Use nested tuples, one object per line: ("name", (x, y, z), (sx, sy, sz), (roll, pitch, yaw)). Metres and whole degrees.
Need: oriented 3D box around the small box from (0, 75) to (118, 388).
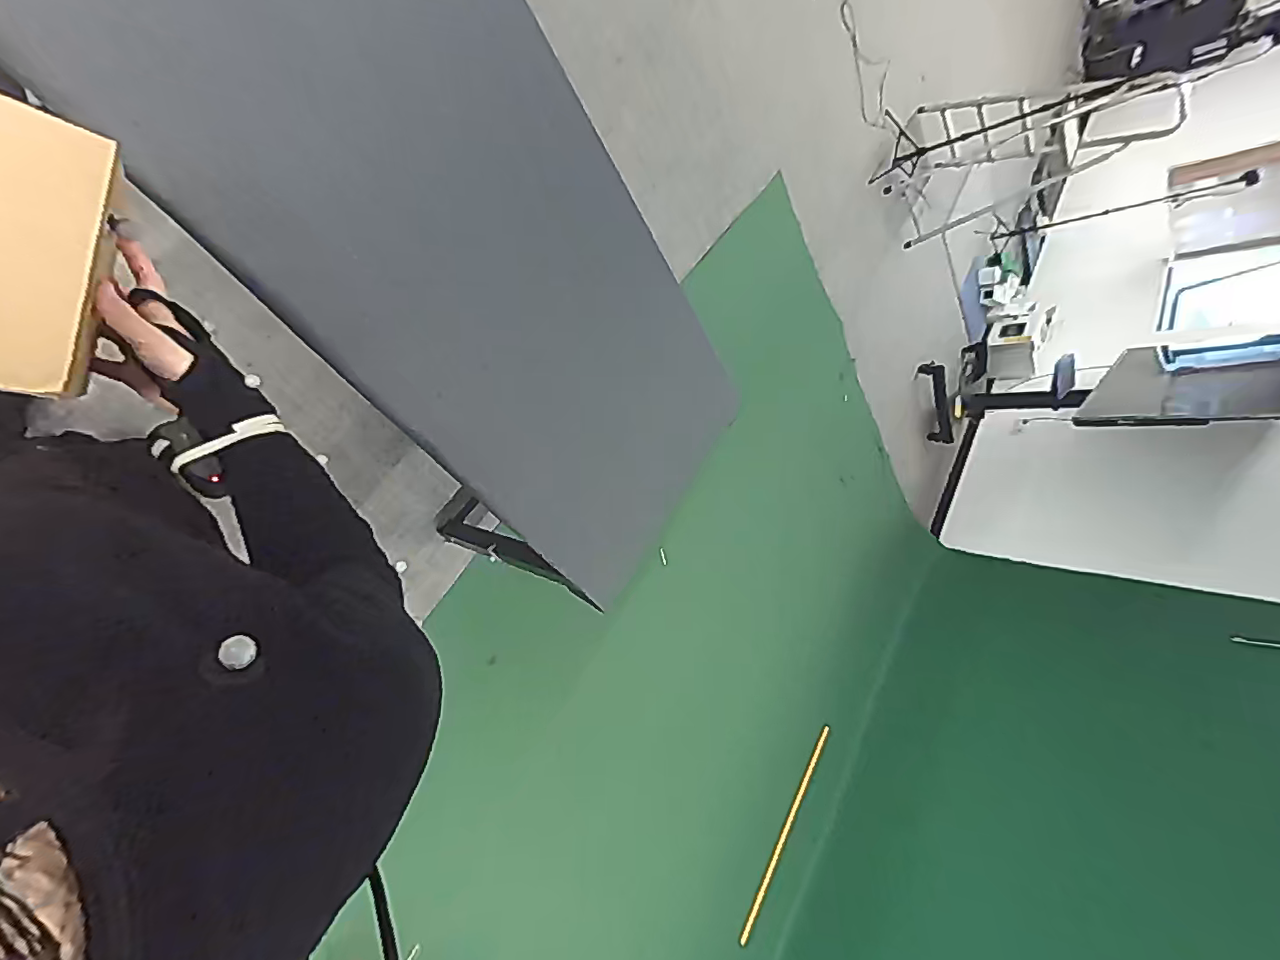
("small box", (-0.468, -0.166, 0.346), (0.168, 0.176, 0.179), (14, 88, -44))
